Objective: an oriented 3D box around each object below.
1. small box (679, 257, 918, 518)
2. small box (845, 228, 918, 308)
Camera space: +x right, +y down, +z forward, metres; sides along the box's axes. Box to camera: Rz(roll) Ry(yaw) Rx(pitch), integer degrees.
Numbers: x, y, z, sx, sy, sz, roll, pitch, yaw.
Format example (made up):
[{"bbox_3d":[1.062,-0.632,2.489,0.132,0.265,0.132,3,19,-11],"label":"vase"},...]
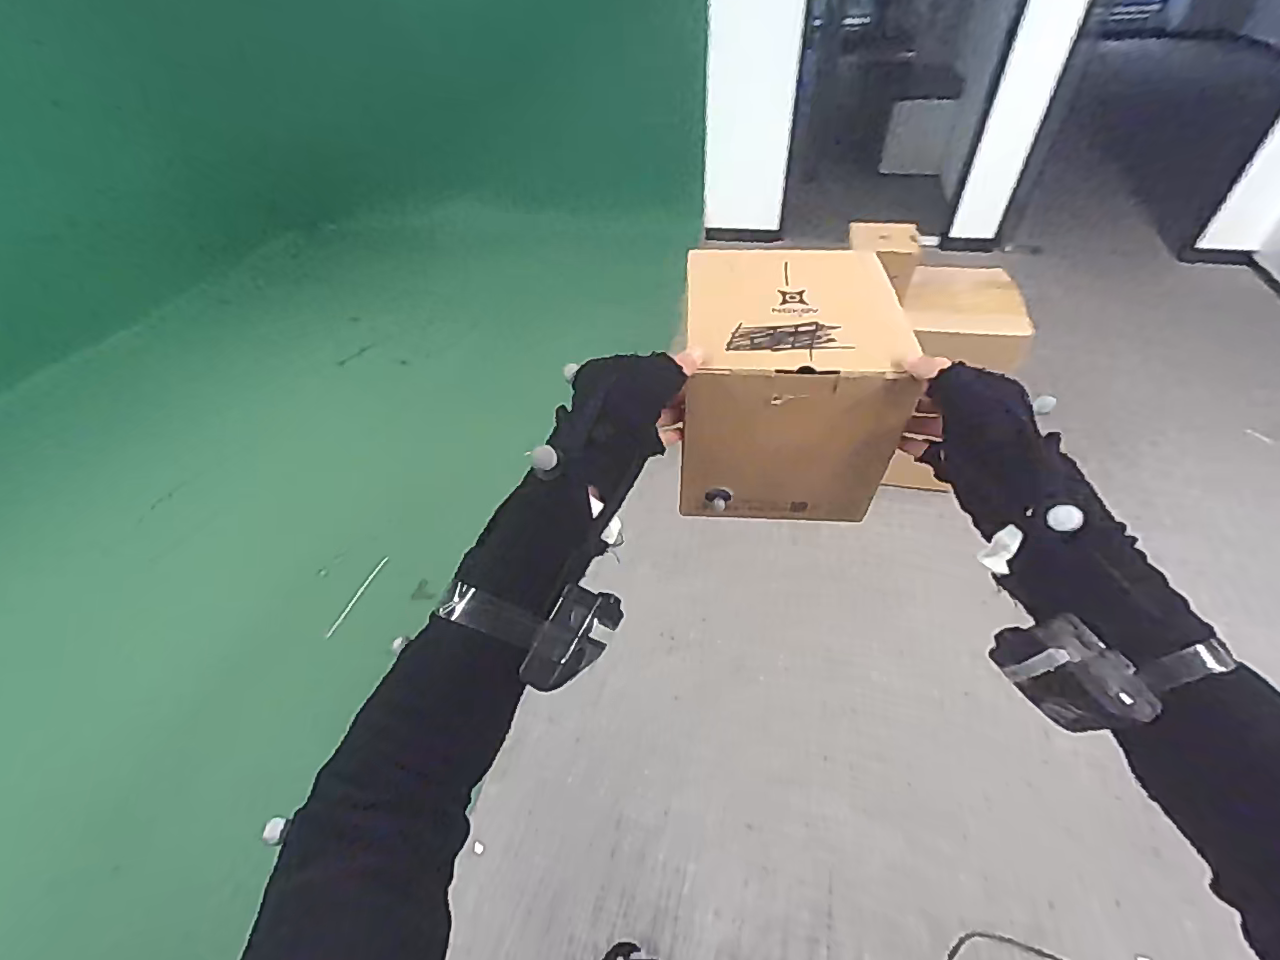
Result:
[{"bbox_3d":[0.122,-0.081,0.490,0.168,0.176,0.179,2,48,5],"label":"small box"},{"bbox_3d":[0.691,-0.614,1.582,0.179,0.176,0.168,5,50,13],"label":"small box"}]
